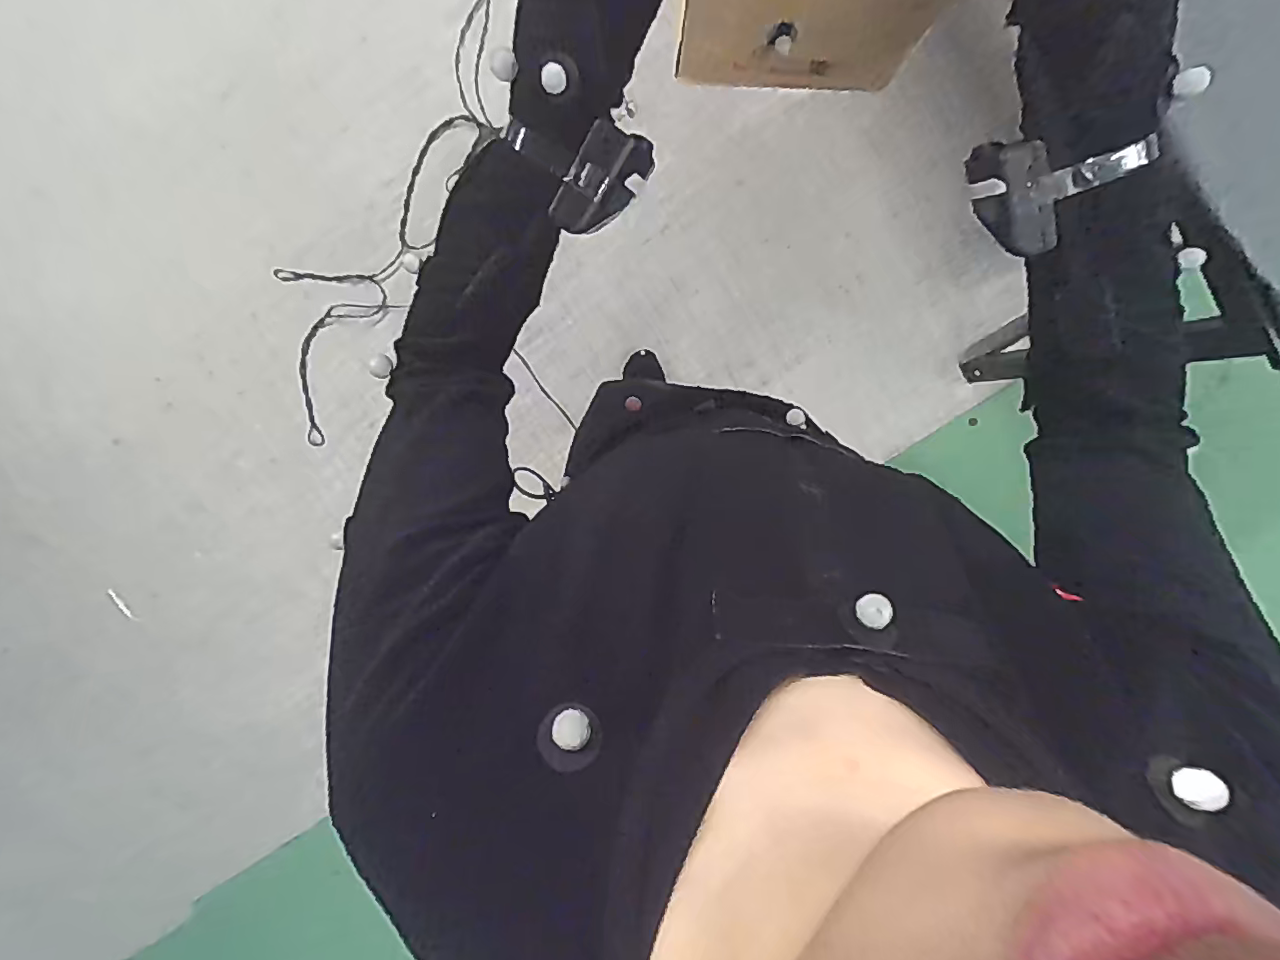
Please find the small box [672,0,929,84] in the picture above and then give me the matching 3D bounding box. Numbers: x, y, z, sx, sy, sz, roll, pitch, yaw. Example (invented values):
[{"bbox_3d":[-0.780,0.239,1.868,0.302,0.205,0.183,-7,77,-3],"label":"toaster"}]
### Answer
[{"bbox_3d":[0.109,-0.394,0.335,0.168,0.176,0.179,2,95,-1],"label":"small box"}]
